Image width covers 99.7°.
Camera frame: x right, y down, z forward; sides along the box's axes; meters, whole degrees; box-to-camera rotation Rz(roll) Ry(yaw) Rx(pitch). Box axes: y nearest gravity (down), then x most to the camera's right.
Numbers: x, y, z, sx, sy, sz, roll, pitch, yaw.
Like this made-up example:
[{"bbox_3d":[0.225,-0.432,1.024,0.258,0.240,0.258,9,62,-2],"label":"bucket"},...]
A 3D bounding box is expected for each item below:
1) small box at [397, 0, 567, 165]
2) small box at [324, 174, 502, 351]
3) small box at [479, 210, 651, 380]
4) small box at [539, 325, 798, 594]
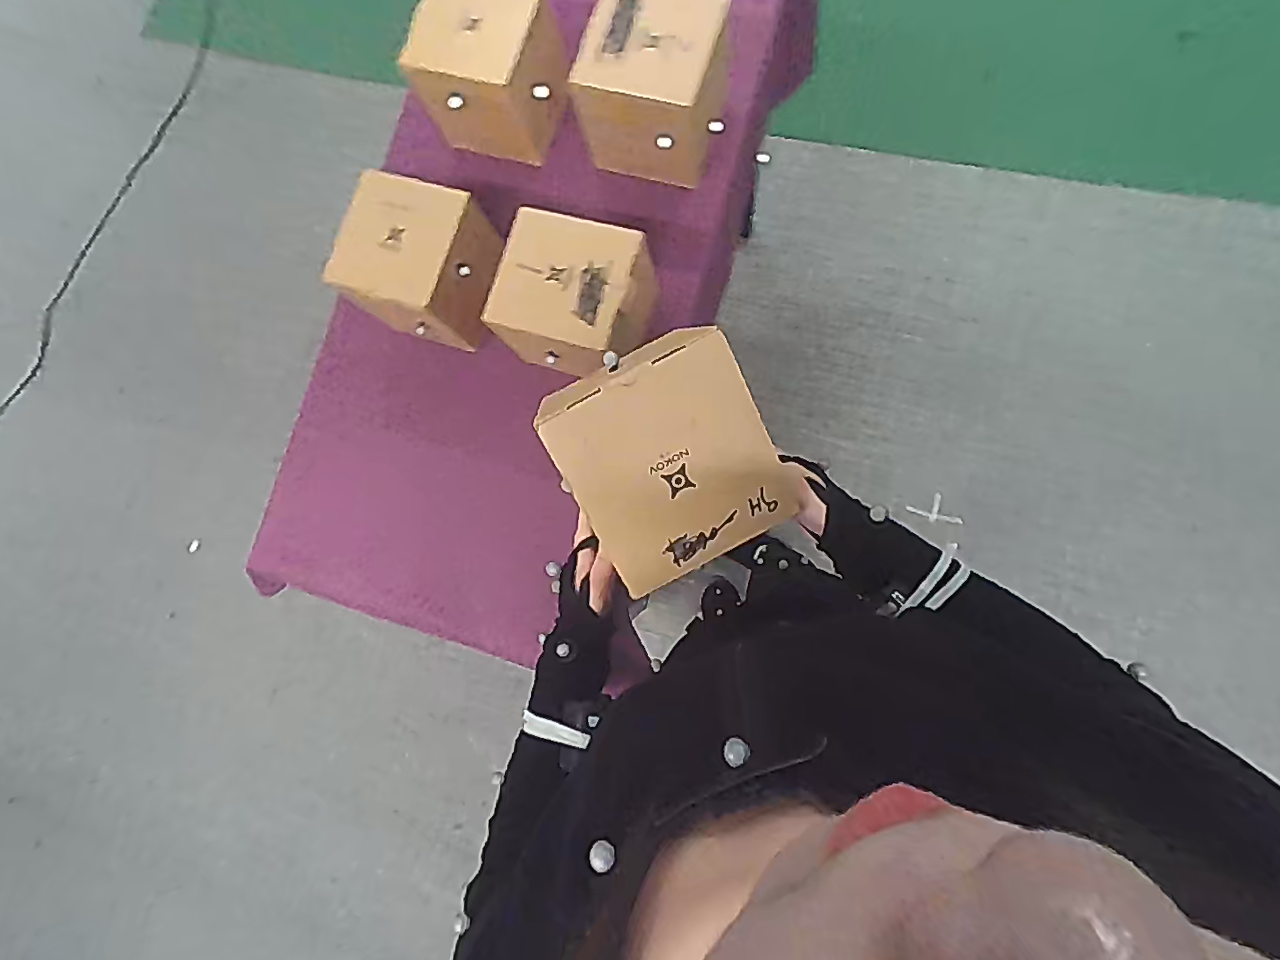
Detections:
[{"bbox_3d":[-0.234,-0.632,0.849,0.179,0.176,0.168,18,86,11],"label":"small box"},{"bbox_3d":[-0.328,-0.319,0.825,0.168,0.176,0.179,18,85,10],"label":"small box"},{"bbox_3d":[-0.094,-0.250,0.777,0.179,0.176,0.168,17,86,12],"label":"small box"},{"bbox_3d":[0.018,-0.029,0.516,0.168,0.176,0.179,-26,106,0],"label":"small box"}]
